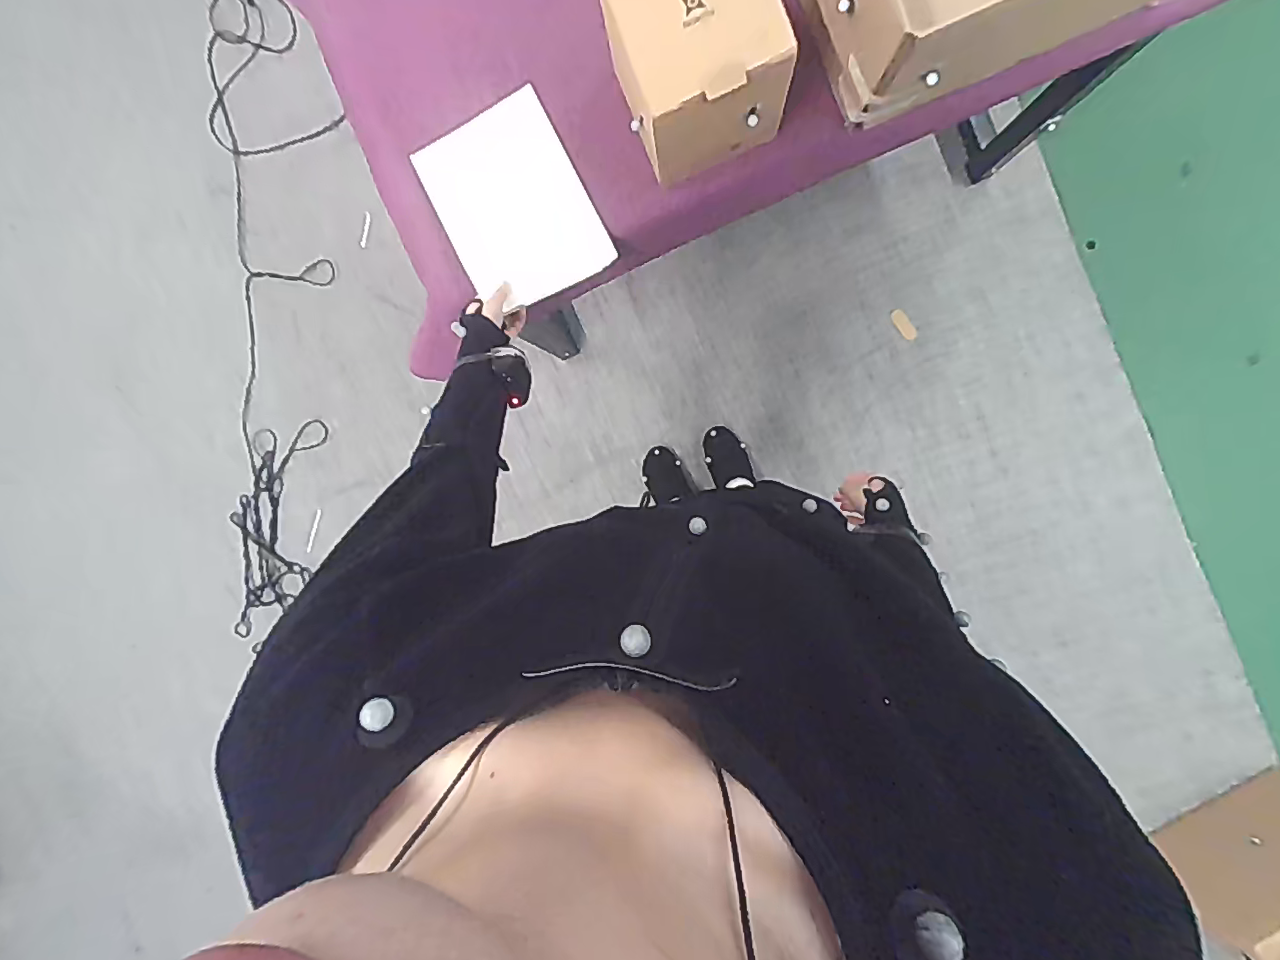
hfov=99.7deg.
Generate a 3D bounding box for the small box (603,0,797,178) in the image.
[{"bbox_3d":[0.068,-0.494,0.640,0.168,0.176,0.179,-21,91,7],"label":"small box"}]

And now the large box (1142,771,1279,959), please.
[{"bbox_3d":[1.579,1.004,1.291,0.408,0.320,0.320,-37,91,6],"label":"large box"}]
